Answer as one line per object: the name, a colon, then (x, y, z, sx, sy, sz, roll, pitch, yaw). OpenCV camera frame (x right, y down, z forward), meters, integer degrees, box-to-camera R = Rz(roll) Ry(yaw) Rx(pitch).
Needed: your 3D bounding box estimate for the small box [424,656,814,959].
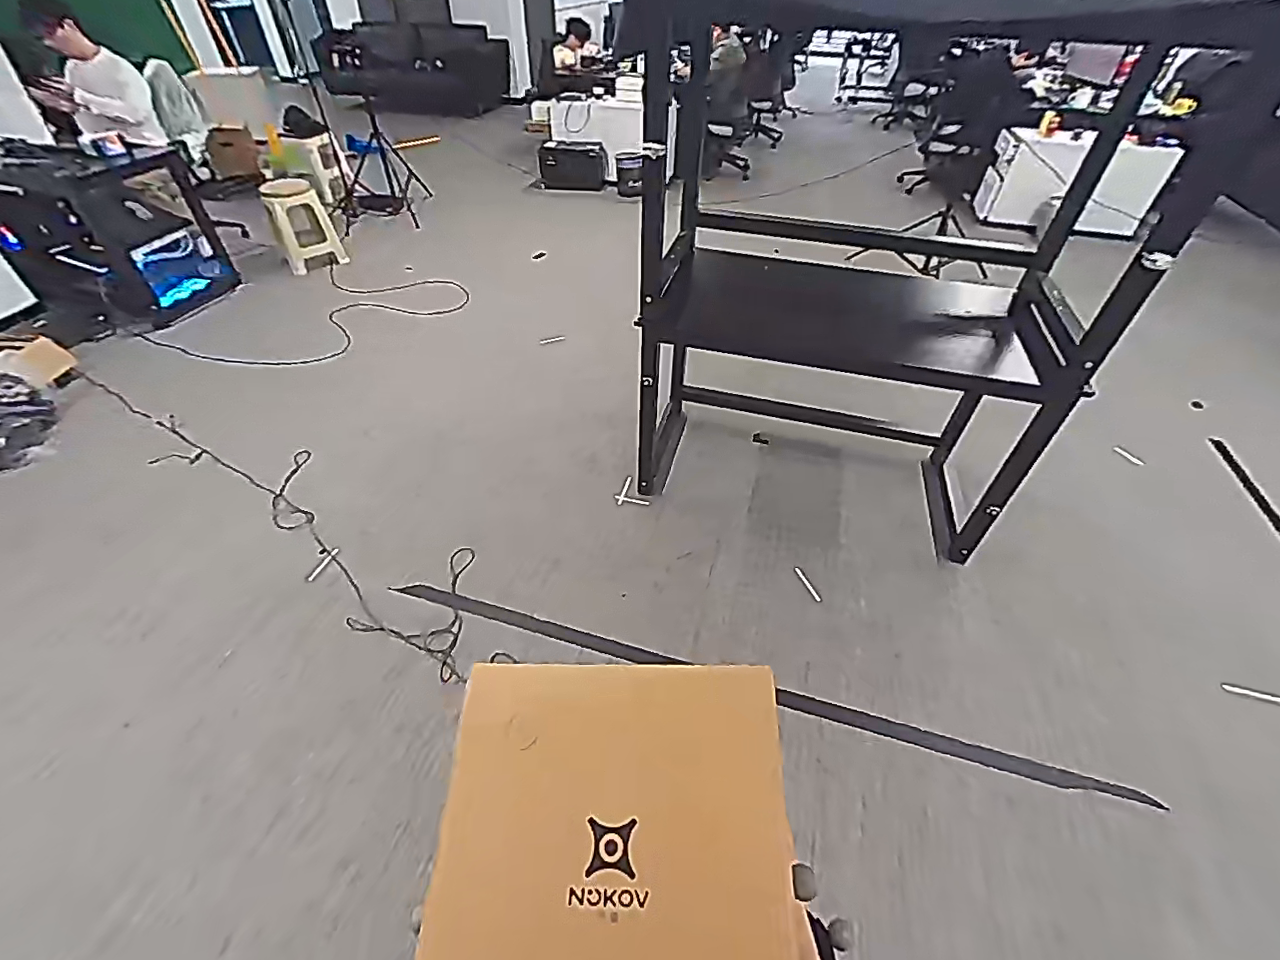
small box: (-0.003, 0.212, 0.311, 0.168, 0.176, 0.179, -1, 58, 4)
